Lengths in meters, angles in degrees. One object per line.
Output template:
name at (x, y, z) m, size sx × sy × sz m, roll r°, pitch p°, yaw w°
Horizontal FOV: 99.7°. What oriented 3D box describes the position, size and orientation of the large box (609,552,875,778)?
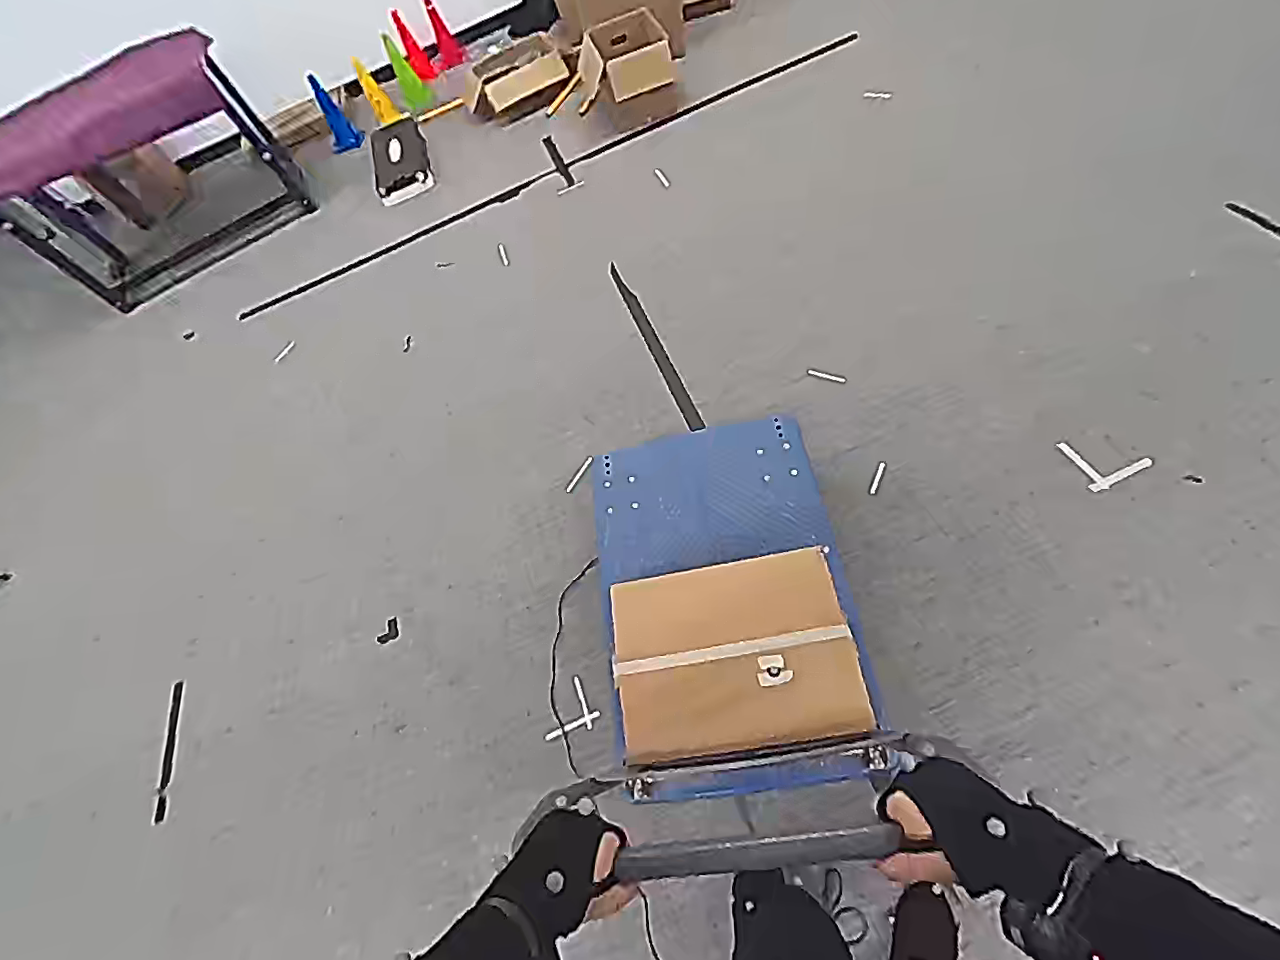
large box at (0.182, 0.375, 1.055) m, size 0.408 × 0.320 × 0.320 m, roll -13°, pitch 61°, yaw 7°
